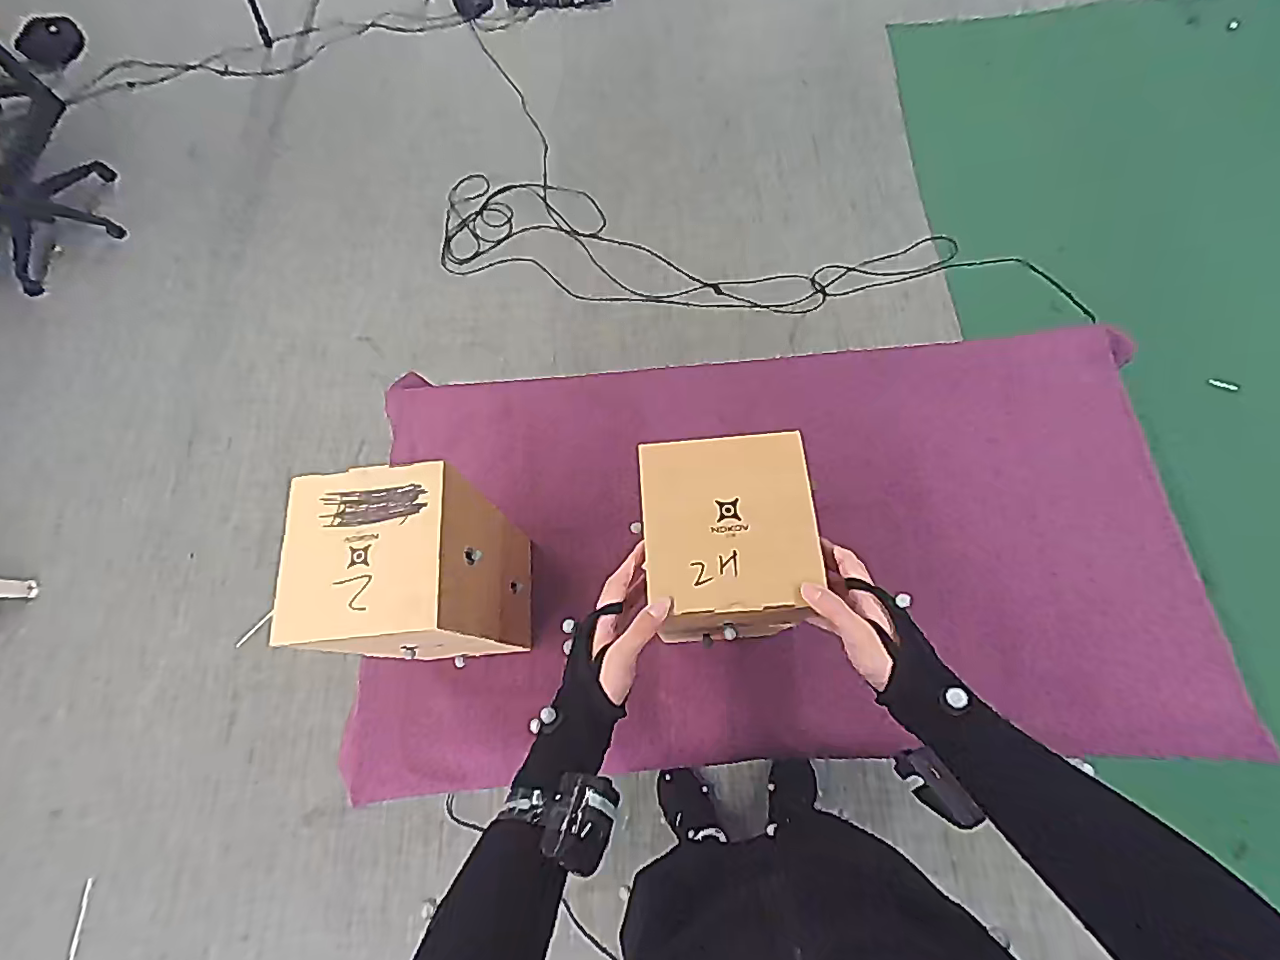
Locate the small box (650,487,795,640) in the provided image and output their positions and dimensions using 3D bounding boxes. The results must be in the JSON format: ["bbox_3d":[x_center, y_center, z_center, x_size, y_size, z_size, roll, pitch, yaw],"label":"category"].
[{"bbox_3d":[0.106,0.124,0.745,0.168,0.176,0.179,-5,68,3],"label":"small box"}]

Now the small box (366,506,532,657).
[{"bbox_3d":[-0.254,0.149,0.760,0.168,0.176,0.179,-6,70,3],"label":"small box"}]
